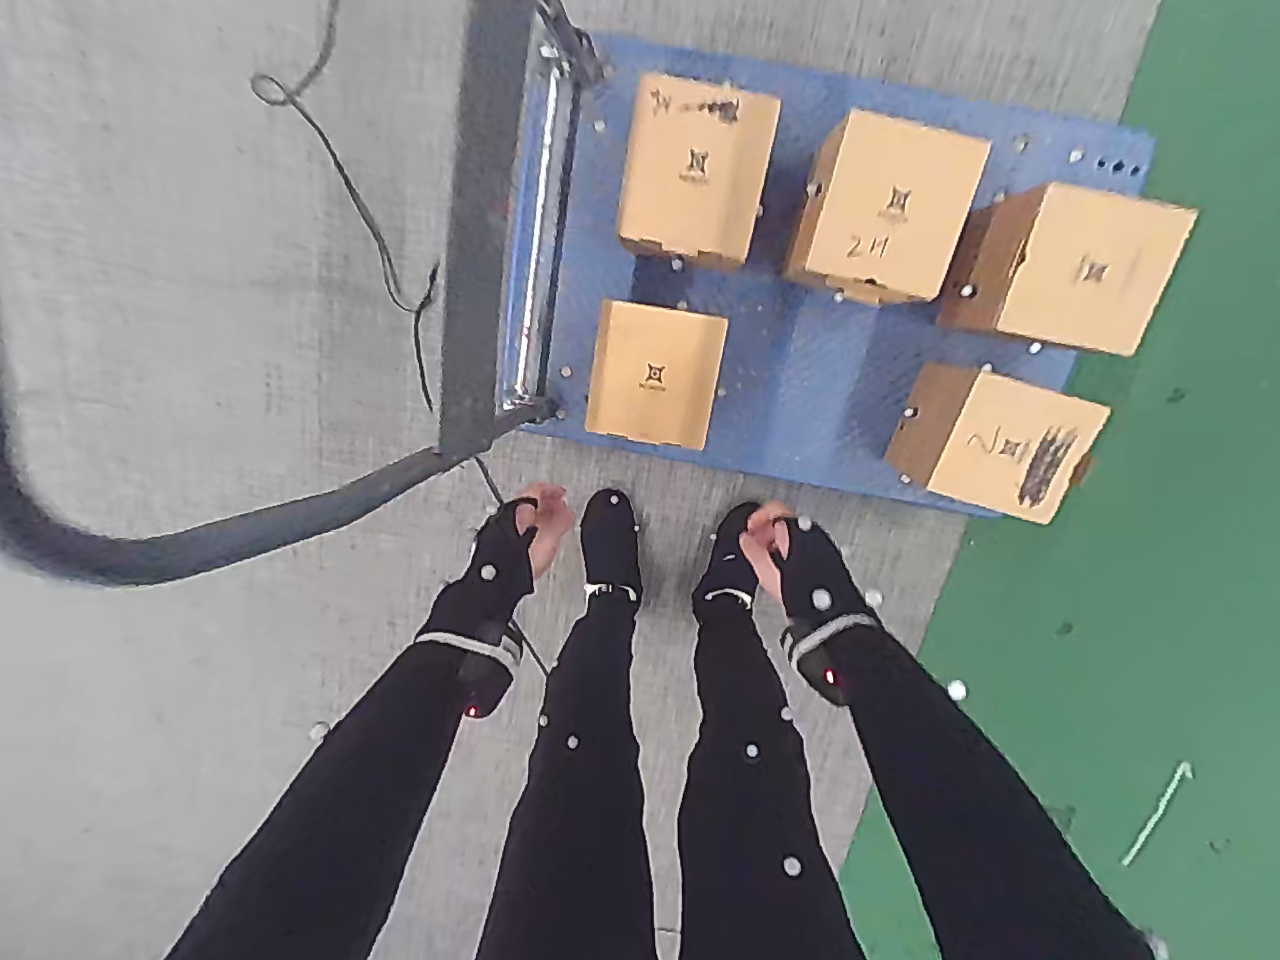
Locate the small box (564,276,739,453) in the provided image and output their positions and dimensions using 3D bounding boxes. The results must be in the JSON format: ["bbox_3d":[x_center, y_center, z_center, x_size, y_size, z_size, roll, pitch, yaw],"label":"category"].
[{"bbox_3d":[0.020,-0.169,0.791,0.179,0.176,0.168,41,107,-7],"label":"small box"}]

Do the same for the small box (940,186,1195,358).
[{"bbox_3d":[0.539,-0.265,0.717,0.179,0.176,0.168,13,107,1],"label":"small box"}]
